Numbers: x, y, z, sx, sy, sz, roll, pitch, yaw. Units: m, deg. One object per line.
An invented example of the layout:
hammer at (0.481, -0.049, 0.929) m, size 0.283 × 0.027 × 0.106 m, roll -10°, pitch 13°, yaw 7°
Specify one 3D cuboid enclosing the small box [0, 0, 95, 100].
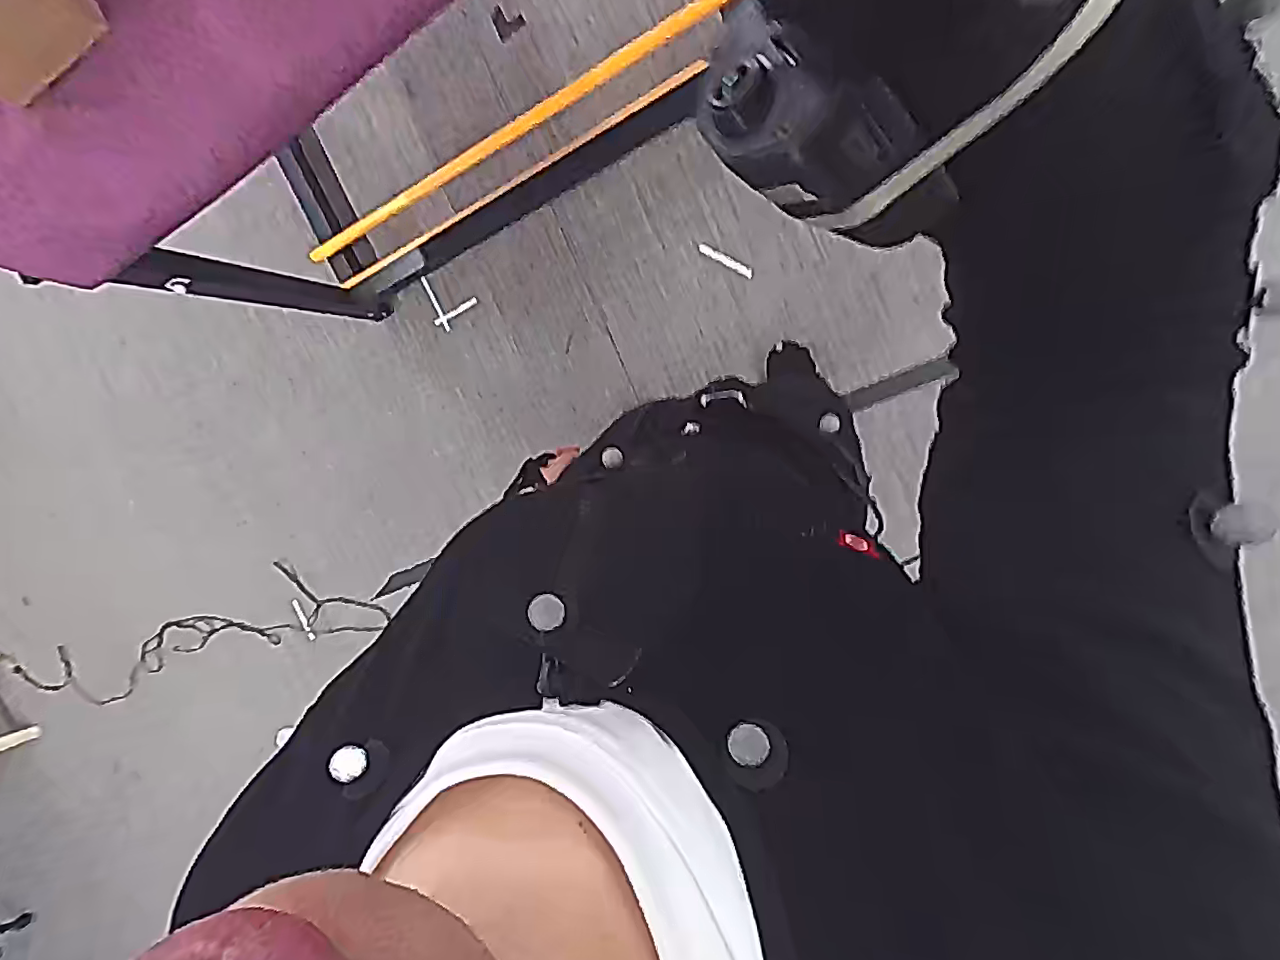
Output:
small box at (-0.774, -0.581, 0.600) m, size 0.179 × 0.176 × 0.168 m, roll -26°, pitch 93°, yaw 13°
